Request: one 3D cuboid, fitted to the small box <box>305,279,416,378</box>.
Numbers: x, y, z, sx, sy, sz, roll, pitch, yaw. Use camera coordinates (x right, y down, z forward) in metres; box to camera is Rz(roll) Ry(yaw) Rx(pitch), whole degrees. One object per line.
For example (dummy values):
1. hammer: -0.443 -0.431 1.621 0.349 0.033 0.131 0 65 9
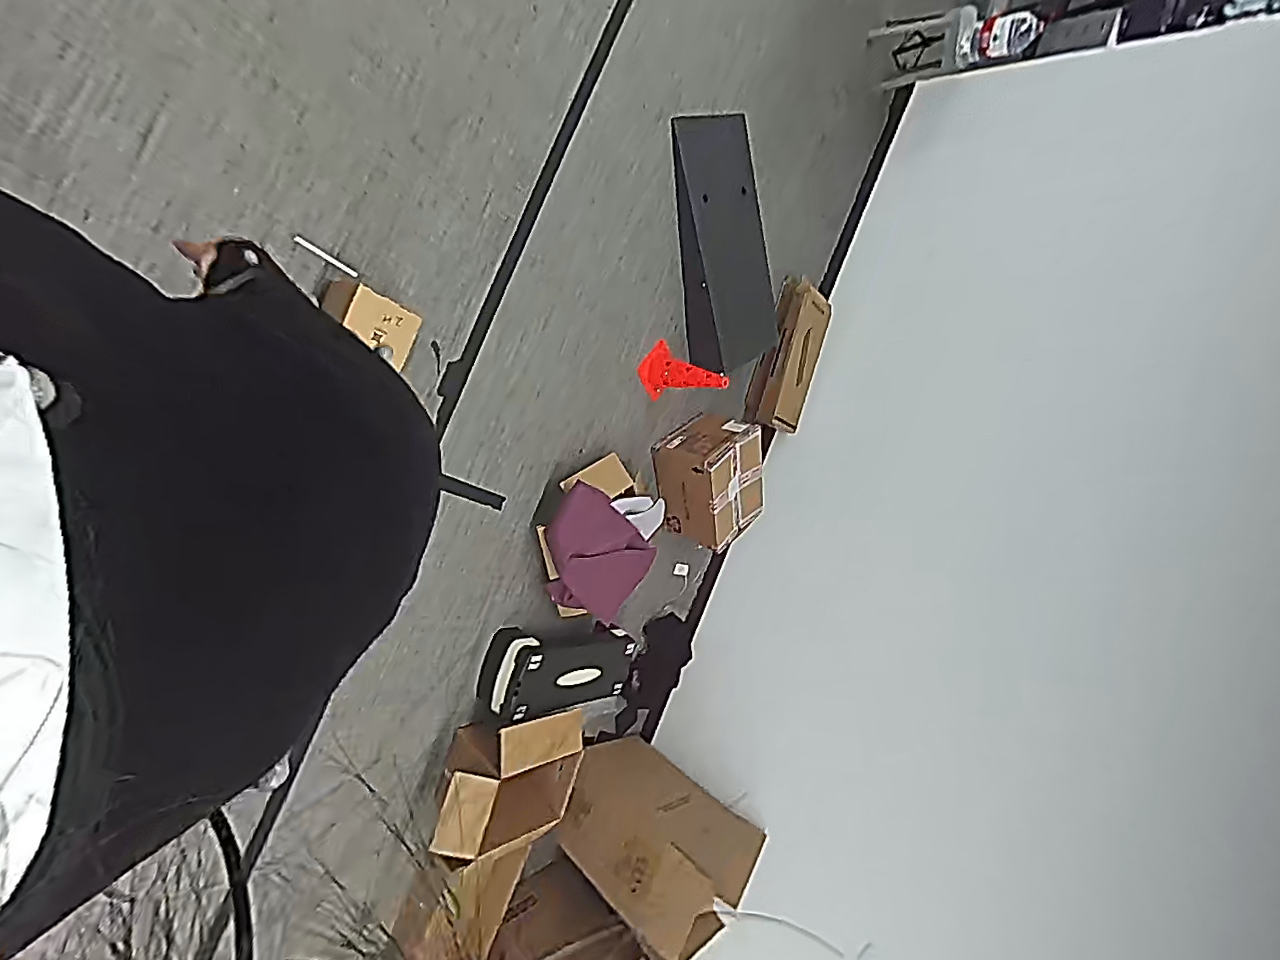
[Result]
1. small box: -0.695 -0.376 1.337 0.168 0.176 0.179 26 85 -52
